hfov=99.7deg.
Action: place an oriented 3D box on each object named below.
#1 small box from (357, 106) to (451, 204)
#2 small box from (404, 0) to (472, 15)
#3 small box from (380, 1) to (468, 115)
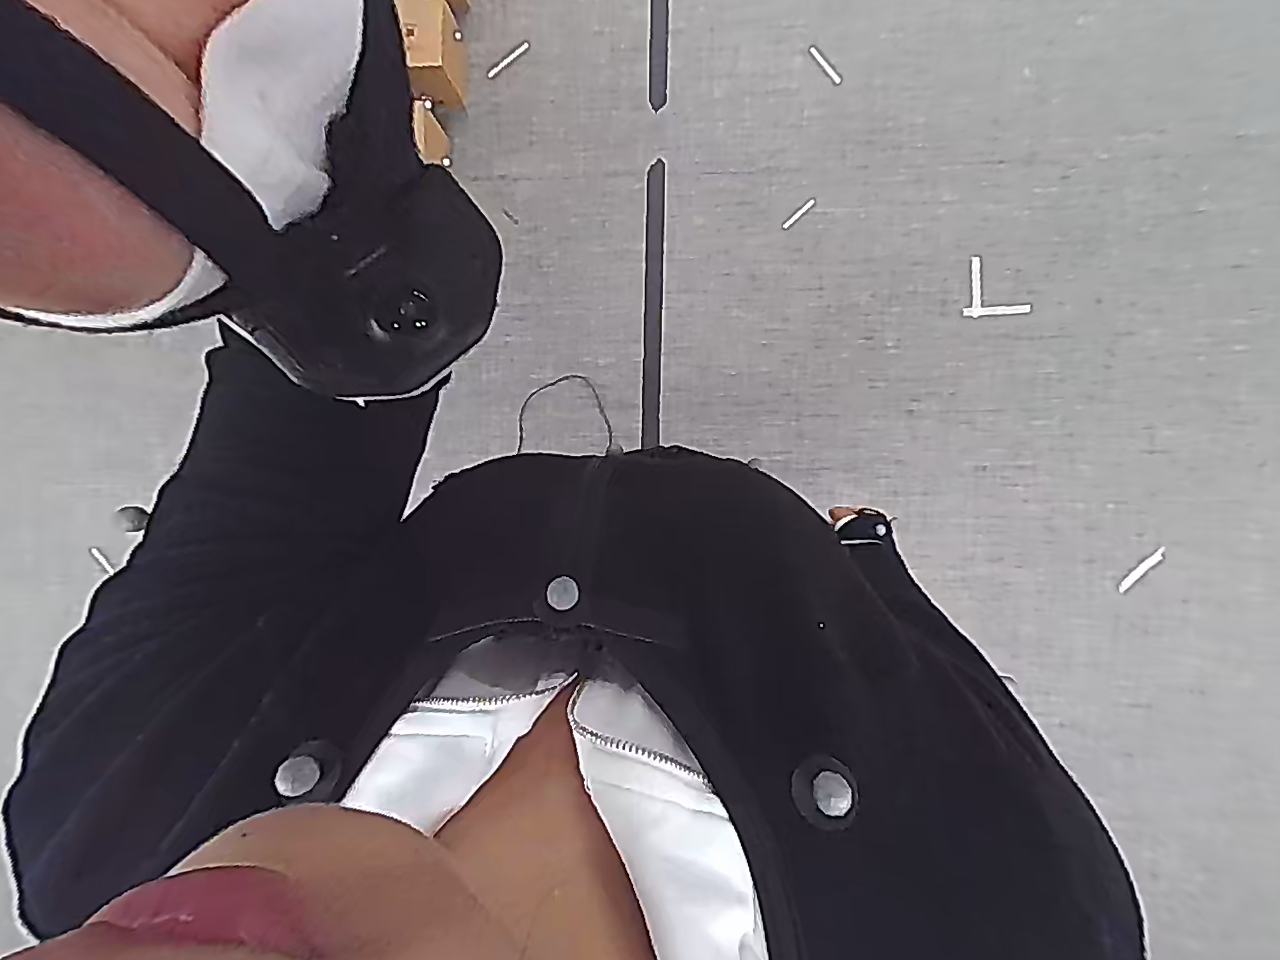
[{"bbox_3d":[-0.620,-0.854,1.434,0.179,0.176,0.168,0,92,2],"label":"small box"},{"bbox_3d":[-0.557,-1.368,1.418,0.179,0.176,0.168,0,92,4],"label":"small box"},{"bbox_3d":[-0.564,-1.106,1.427,0.168,0.176,0.179,0,92,4],"label":"small box"}]
